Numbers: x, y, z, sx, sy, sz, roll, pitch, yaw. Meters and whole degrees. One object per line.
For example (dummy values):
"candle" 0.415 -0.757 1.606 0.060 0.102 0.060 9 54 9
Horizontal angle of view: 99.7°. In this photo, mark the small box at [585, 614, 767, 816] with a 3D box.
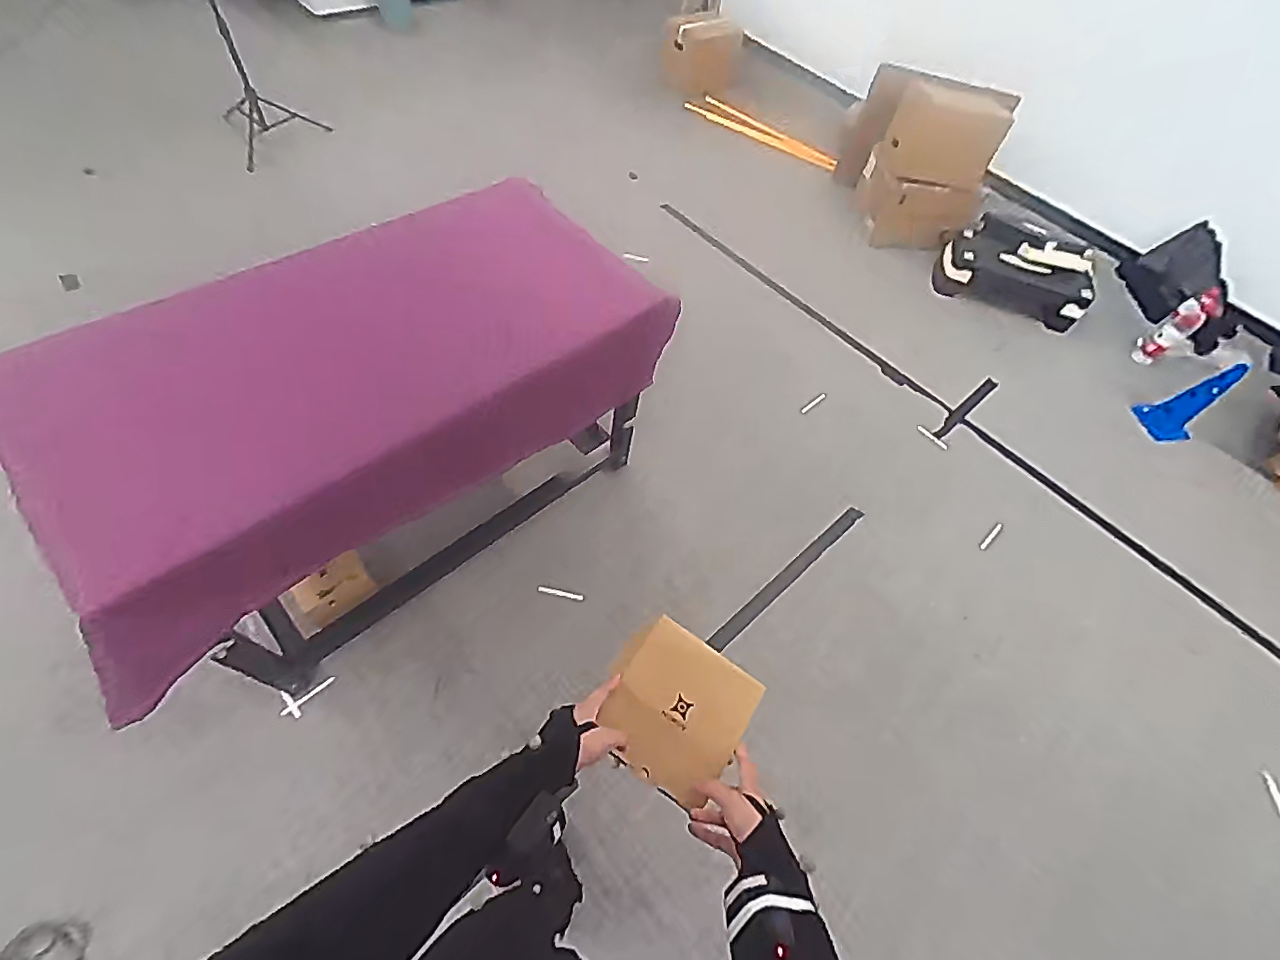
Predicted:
"small box" 0.038 0.310 0.740 0.168 0.176 0.179 36 67 4
